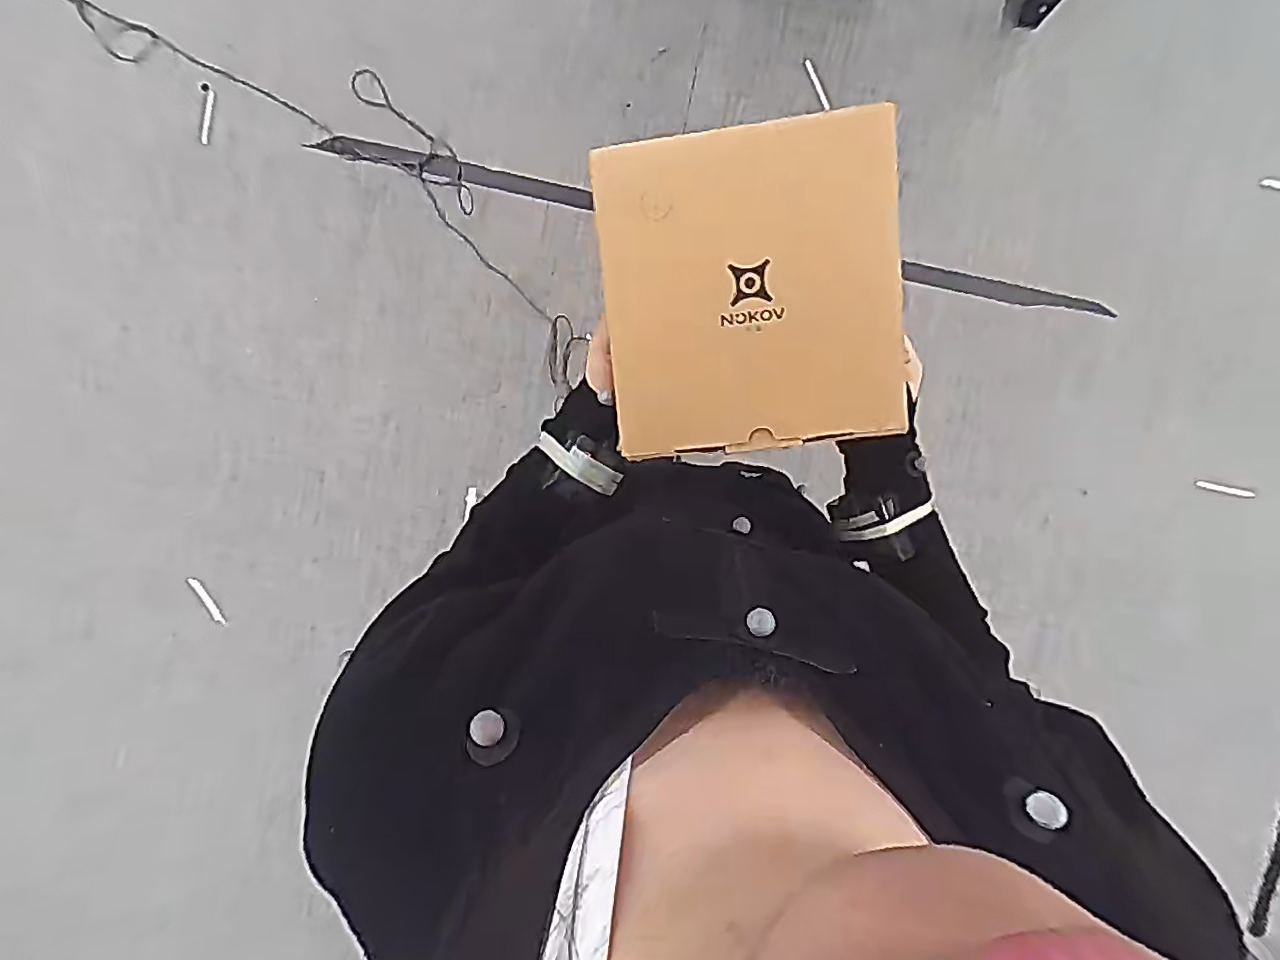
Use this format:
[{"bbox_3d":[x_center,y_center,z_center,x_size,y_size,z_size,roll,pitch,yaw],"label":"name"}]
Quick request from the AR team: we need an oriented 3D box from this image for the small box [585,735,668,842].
[{"bbox_3d":[-0.036,0.820,1.456,0.179,0.176,0.168,19,93,-2],"label":"small box"}]

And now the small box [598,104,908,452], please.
[{"bbox_3d":[0.069,-0.118,0.382,0.168,0.176,0.179,-5,98,5],"label":"small box"}]
